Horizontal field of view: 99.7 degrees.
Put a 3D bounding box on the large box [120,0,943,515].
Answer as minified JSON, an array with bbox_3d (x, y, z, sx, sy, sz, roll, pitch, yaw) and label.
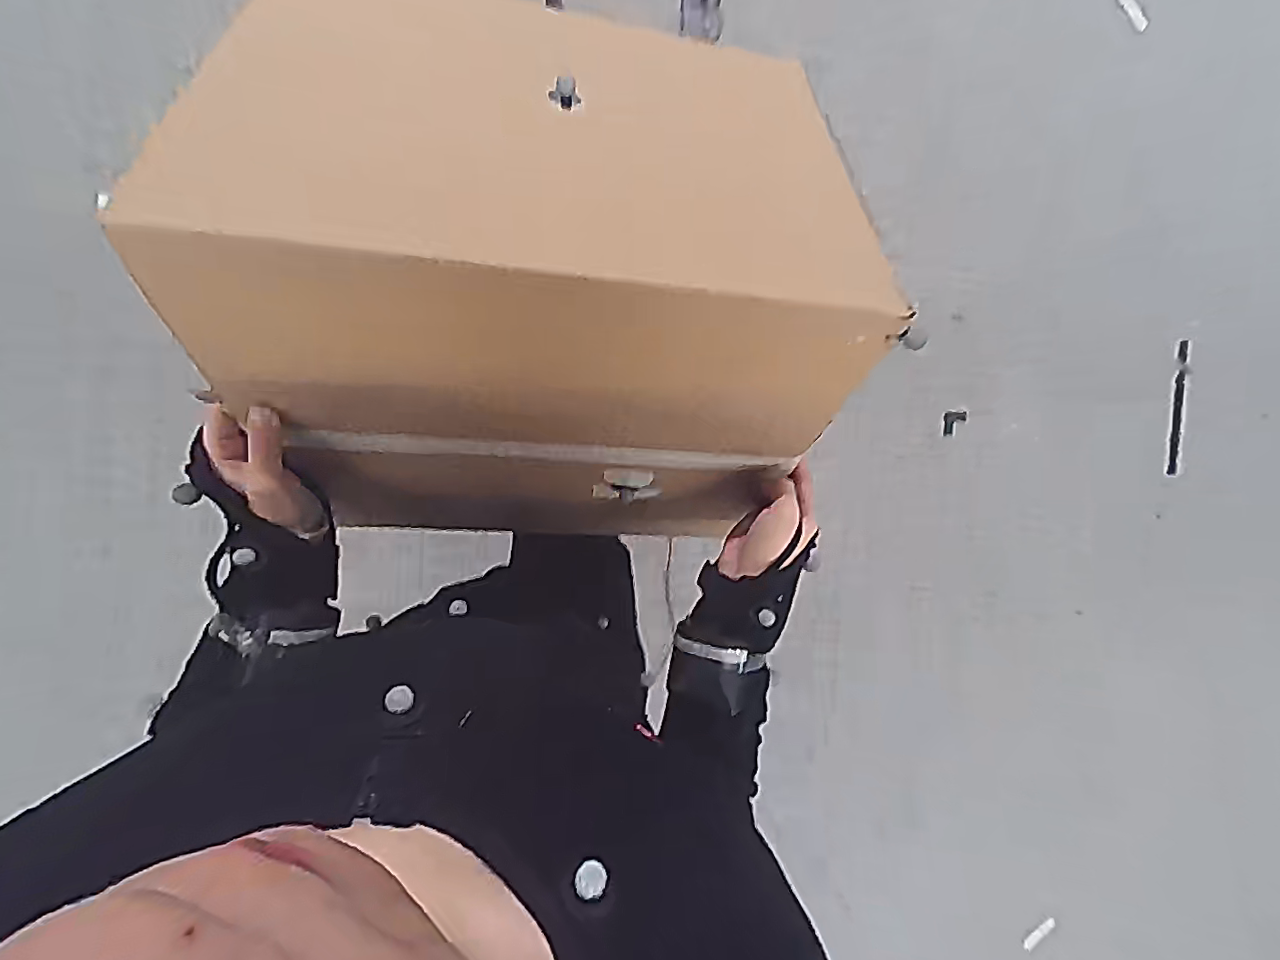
[{"bbox_3d":[-0.064,-0.176,0.461,0.408,0.320,0.320,2,60,-11],"label":"large box"}]
